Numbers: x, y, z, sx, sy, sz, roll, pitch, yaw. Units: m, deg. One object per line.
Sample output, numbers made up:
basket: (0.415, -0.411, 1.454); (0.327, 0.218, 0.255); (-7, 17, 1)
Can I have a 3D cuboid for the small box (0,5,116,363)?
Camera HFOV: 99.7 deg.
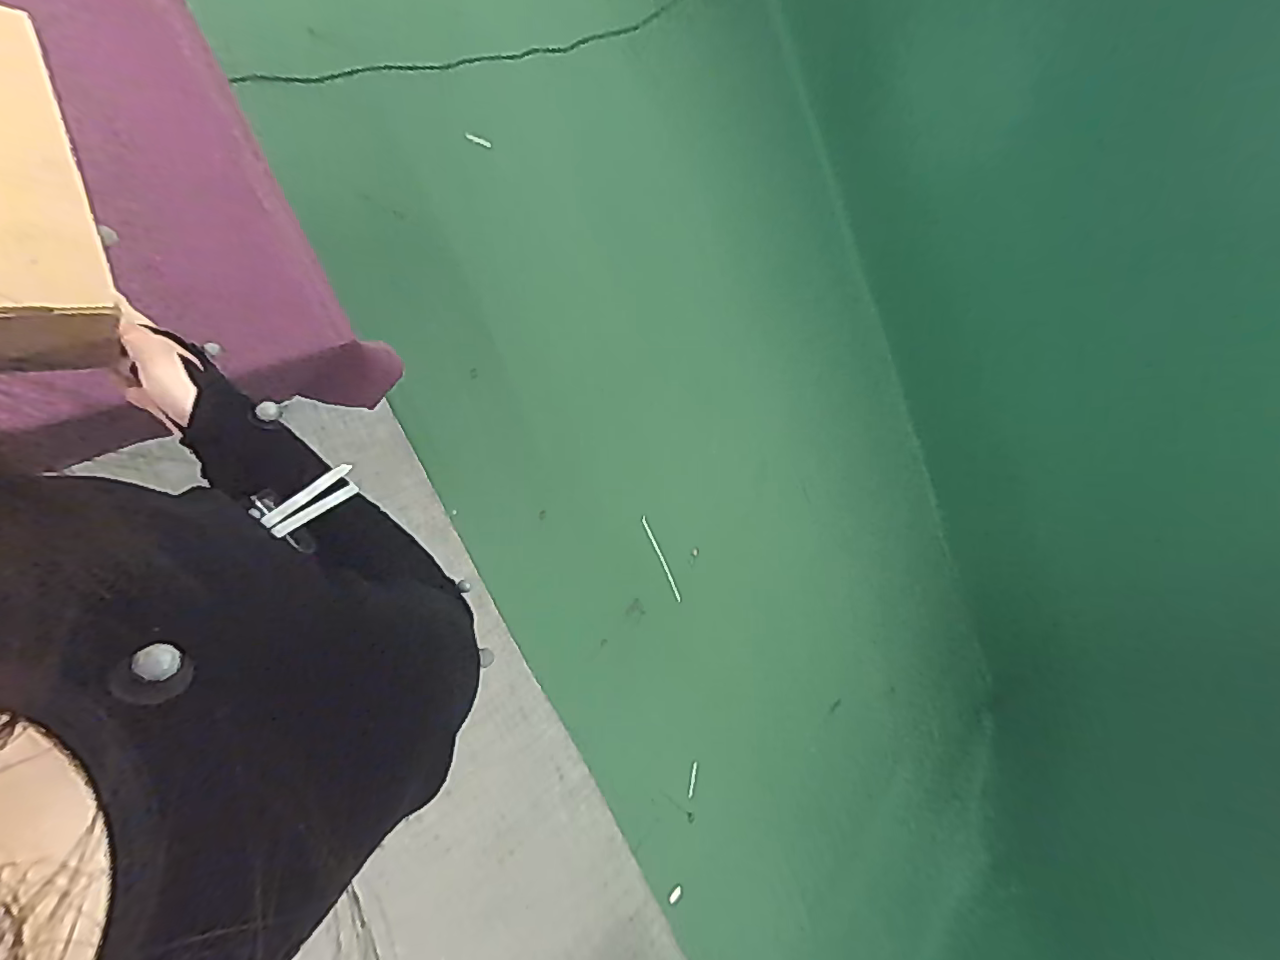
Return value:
small box: (-0.453, -0.167, 0.328); (0.168, 0.176, 0.179); (-18, 99, -42)
